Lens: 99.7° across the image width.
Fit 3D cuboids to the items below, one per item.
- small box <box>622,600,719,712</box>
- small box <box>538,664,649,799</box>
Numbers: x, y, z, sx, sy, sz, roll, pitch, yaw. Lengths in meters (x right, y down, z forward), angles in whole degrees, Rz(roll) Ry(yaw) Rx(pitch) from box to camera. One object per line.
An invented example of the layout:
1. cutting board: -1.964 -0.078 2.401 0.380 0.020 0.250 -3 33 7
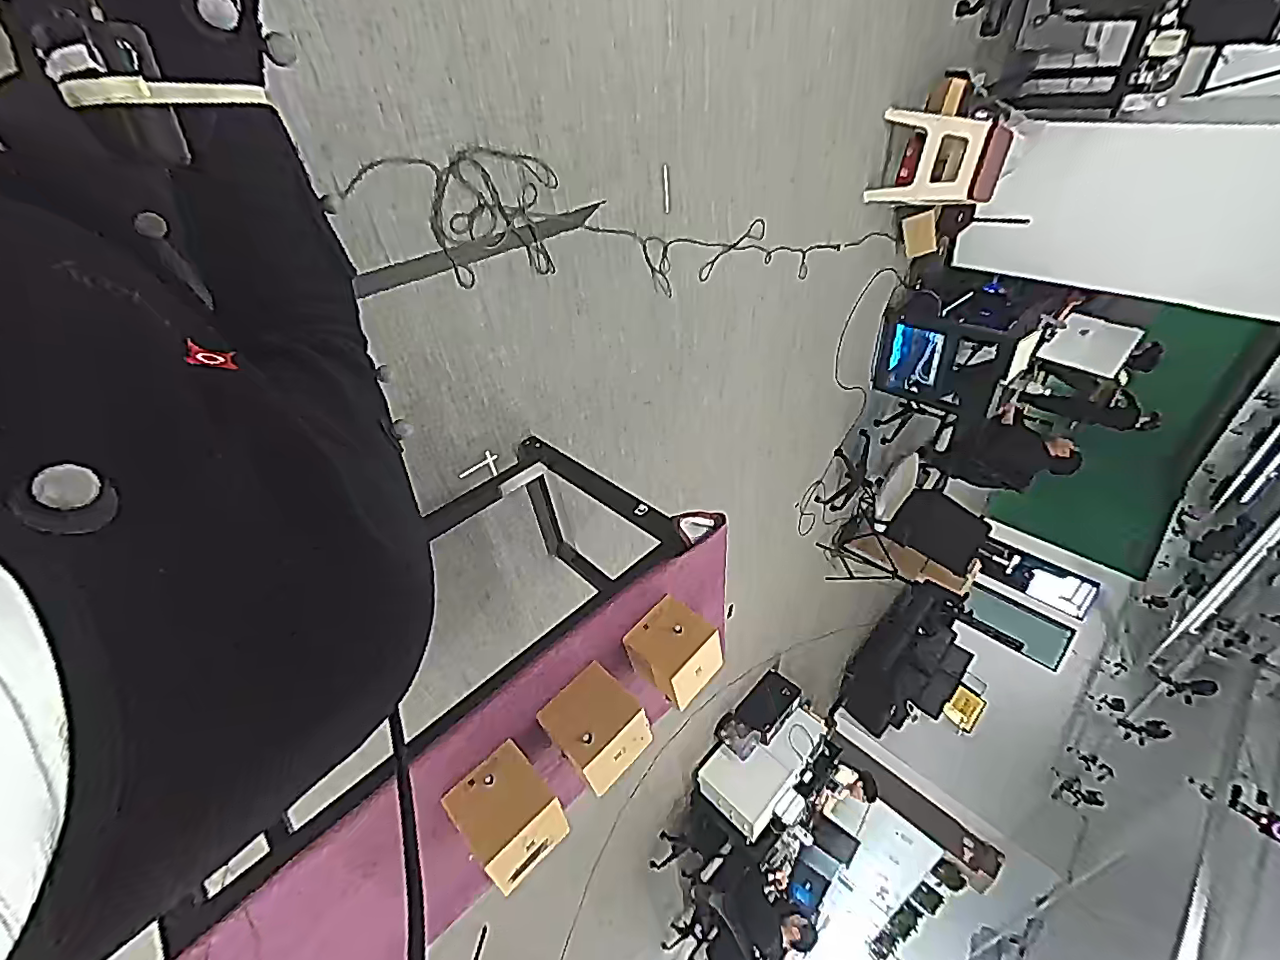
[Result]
1. small box: 0.074 0.423 1.331 0.168 0.176 0.179 -40 139 -25
2. small box: -0.107 0.554 1.204 0.179 0.176 0.168 -37 139 -27
